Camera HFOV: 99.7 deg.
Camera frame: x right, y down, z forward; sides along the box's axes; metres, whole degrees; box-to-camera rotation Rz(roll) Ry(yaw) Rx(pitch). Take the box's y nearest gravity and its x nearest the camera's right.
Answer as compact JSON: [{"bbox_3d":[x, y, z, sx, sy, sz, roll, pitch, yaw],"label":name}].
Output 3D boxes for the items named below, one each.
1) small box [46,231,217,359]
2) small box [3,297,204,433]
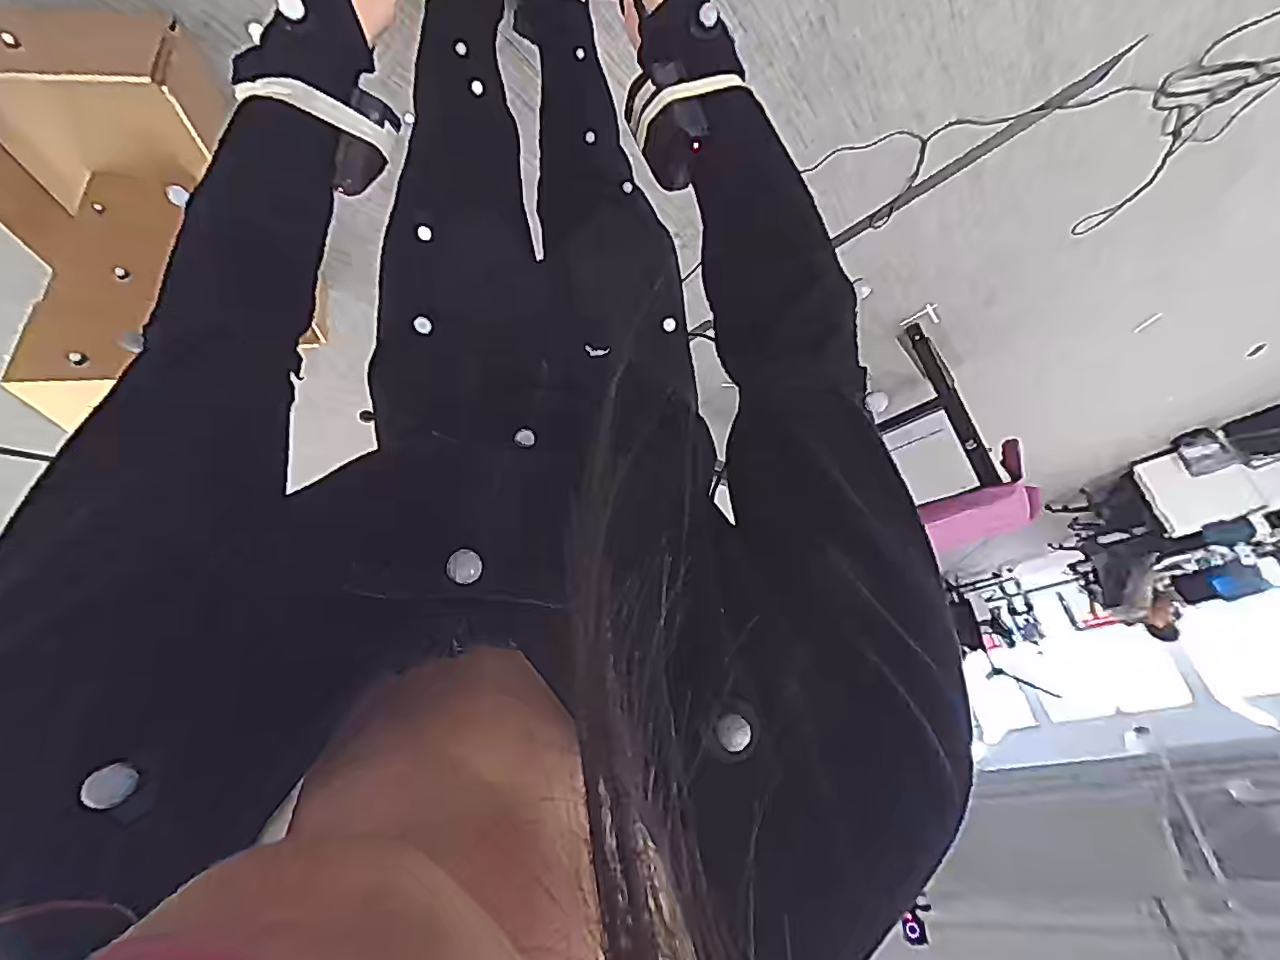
[{"bbox_3d":[-0.928,-0.342,1.012,0.179,0.176,0.168,-5,154,-14],"label":"small box"},{"bbox_3d":[-0.906,-0.198,0.937,0.179,0.176,0.168,-5,154,-13],"label":"small box"}]
